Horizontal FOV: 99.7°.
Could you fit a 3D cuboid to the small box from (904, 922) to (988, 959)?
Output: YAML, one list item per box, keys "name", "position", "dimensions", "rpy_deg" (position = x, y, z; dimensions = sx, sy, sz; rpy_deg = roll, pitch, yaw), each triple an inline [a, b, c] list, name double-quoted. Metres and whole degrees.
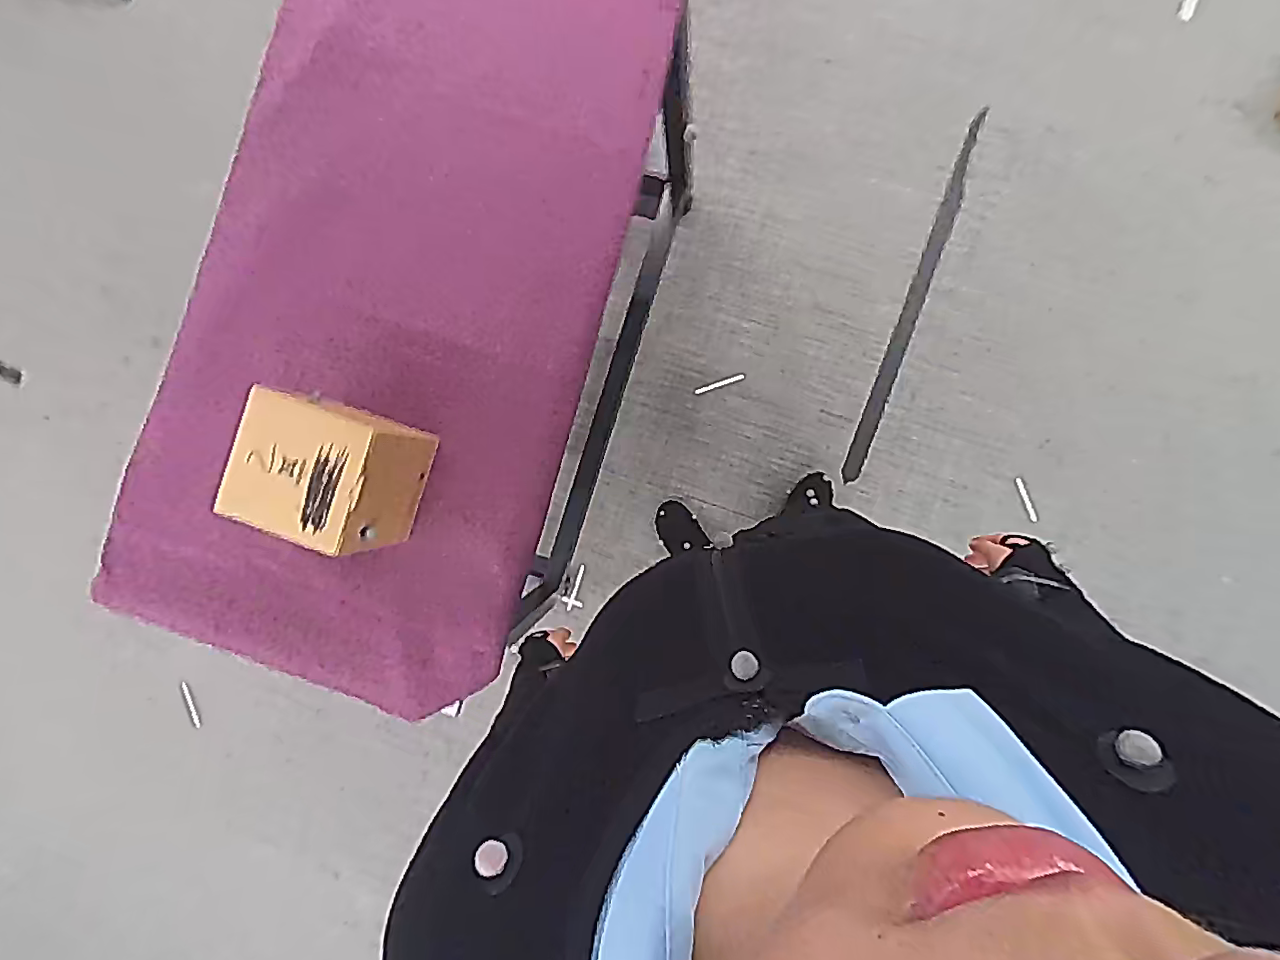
- name: "small box"
  position: [0.781, 1.266, 1.359]
  dimensions: [0.168, 0.176, 0.179]
  rpy_deg: [3, 91, 5]
